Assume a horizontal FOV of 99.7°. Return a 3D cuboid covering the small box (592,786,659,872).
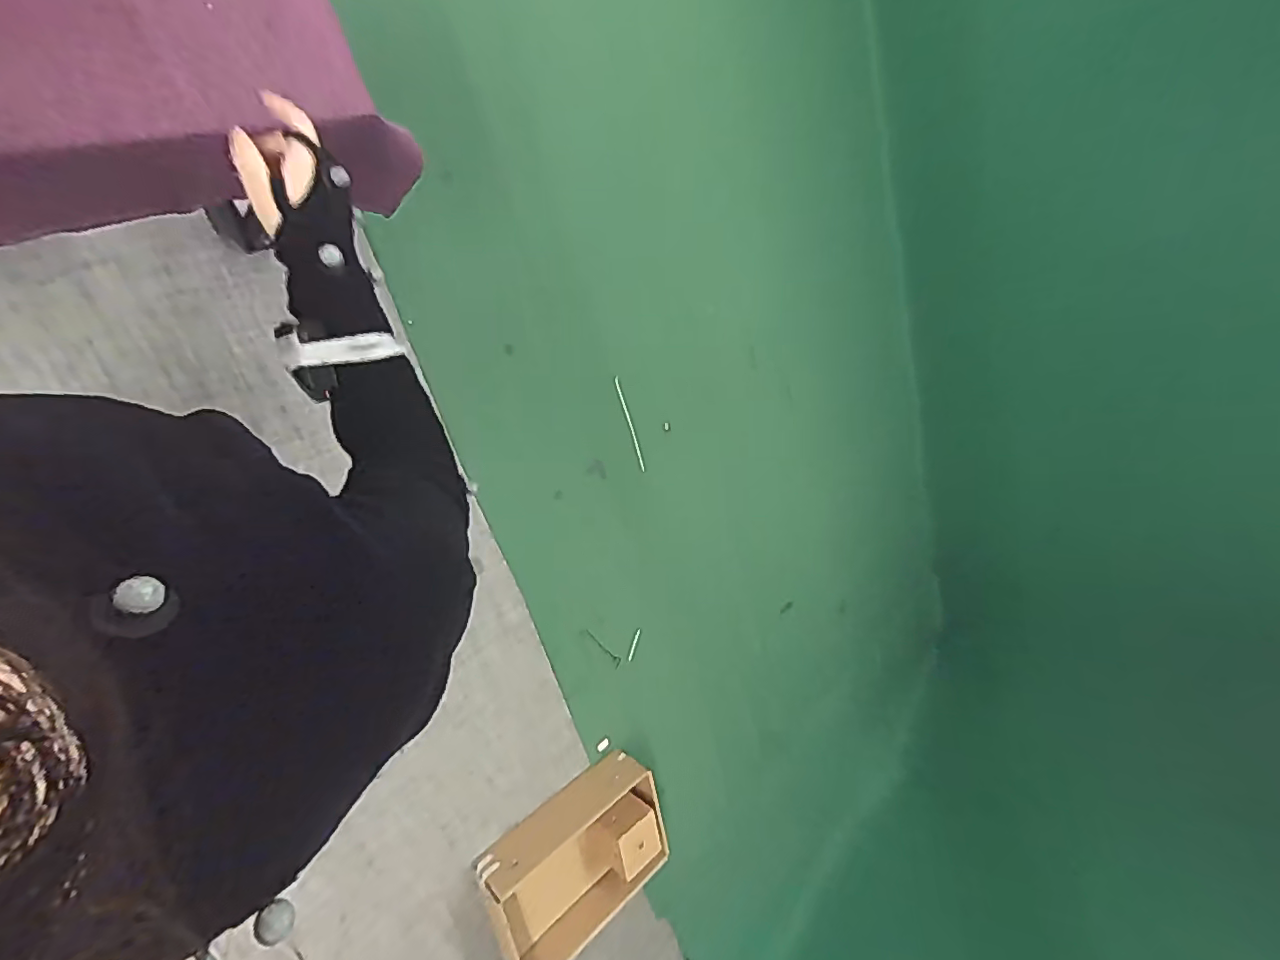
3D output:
[{"bbox_3d":[-0.056,1.242,1.948,0.168,0.176,0.179,-20,106,-38],"label":"small box"}]
